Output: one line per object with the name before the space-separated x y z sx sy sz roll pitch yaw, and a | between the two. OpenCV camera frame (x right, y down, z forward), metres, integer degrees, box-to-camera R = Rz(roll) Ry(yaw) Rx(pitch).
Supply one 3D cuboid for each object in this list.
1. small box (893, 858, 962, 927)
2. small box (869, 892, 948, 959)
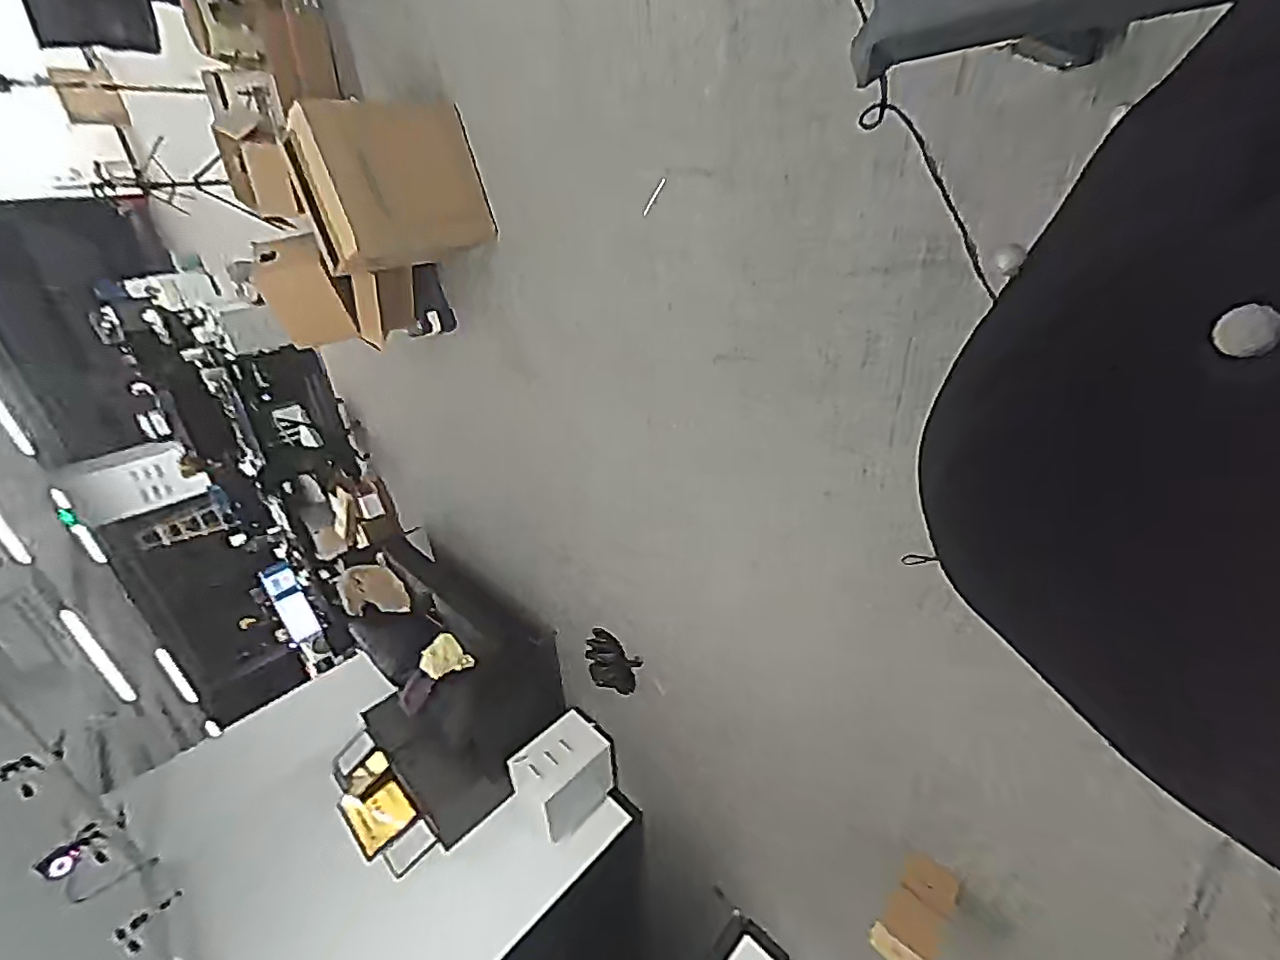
small box | 1.045 1.533 1.980 0.179 0.176 0.168 22 127 38
small box | 0.930 1.585 1.876 0.179 0.176 0.168 25 129 39
